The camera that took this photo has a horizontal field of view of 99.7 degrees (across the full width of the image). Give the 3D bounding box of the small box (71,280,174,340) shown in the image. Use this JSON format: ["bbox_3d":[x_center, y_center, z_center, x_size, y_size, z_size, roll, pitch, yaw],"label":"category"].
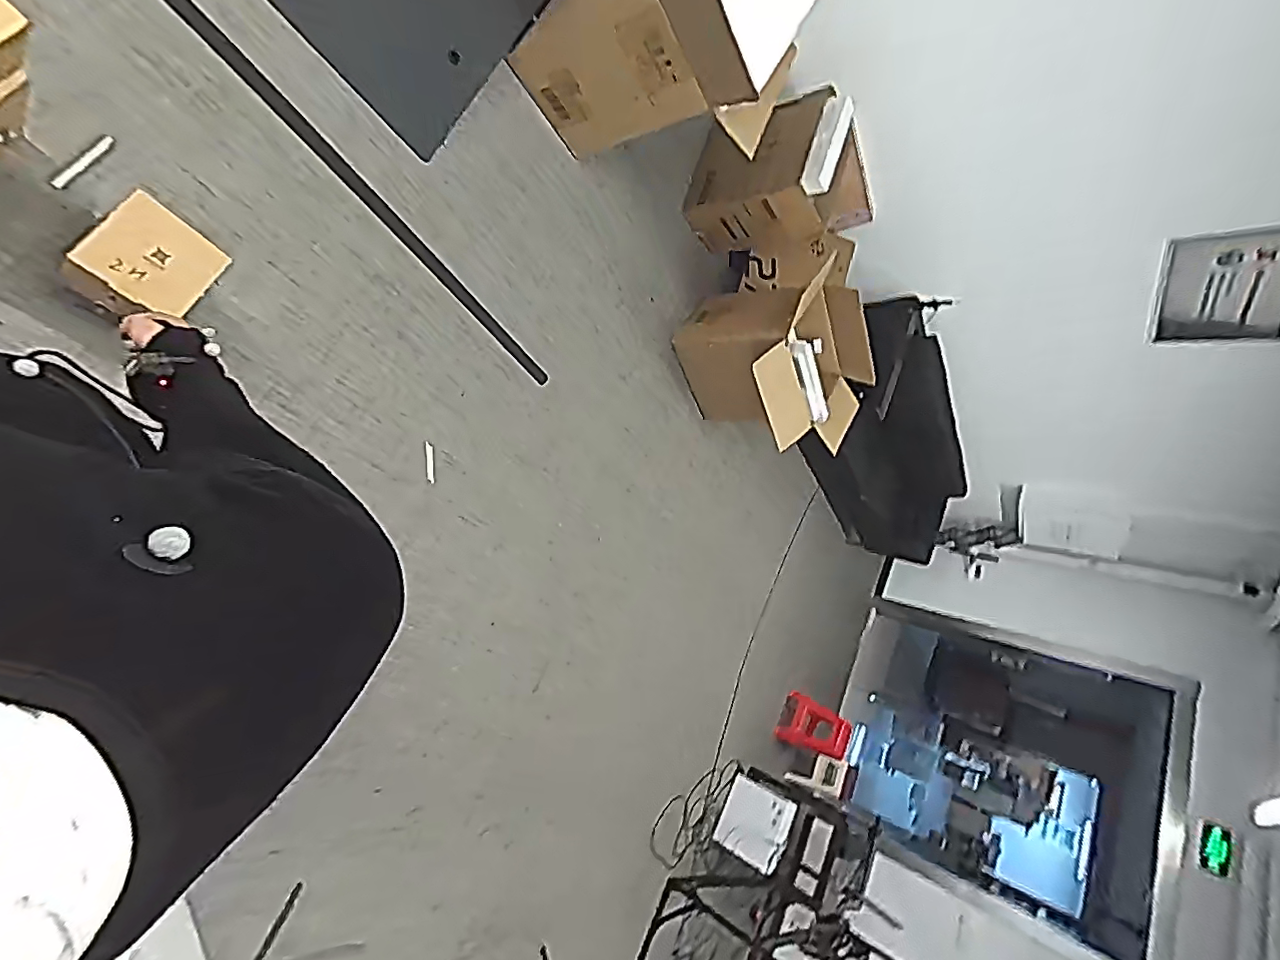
[{"bbox_3d":[-1.056,-0.419,1.151,0.168,0.176,0.179,43,66,-44],"label":"small box"}]

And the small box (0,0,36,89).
[{"bbox_3d":[-0.965,-0.602,0.704,0.168,0.176,0.179,50,61,-44],"label":"small box"}]

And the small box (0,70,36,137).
[{"bbox_3d":[-1.087,-0.613,0.813,0.179,0.176,0.168,47,62,-45],"label":"small box"}]

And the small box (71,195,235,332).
[{"bbox_3d":[-0.937,-0.405,1.038,0.168,0.176,0.179,45,64,-43],"label":"small box"}]
